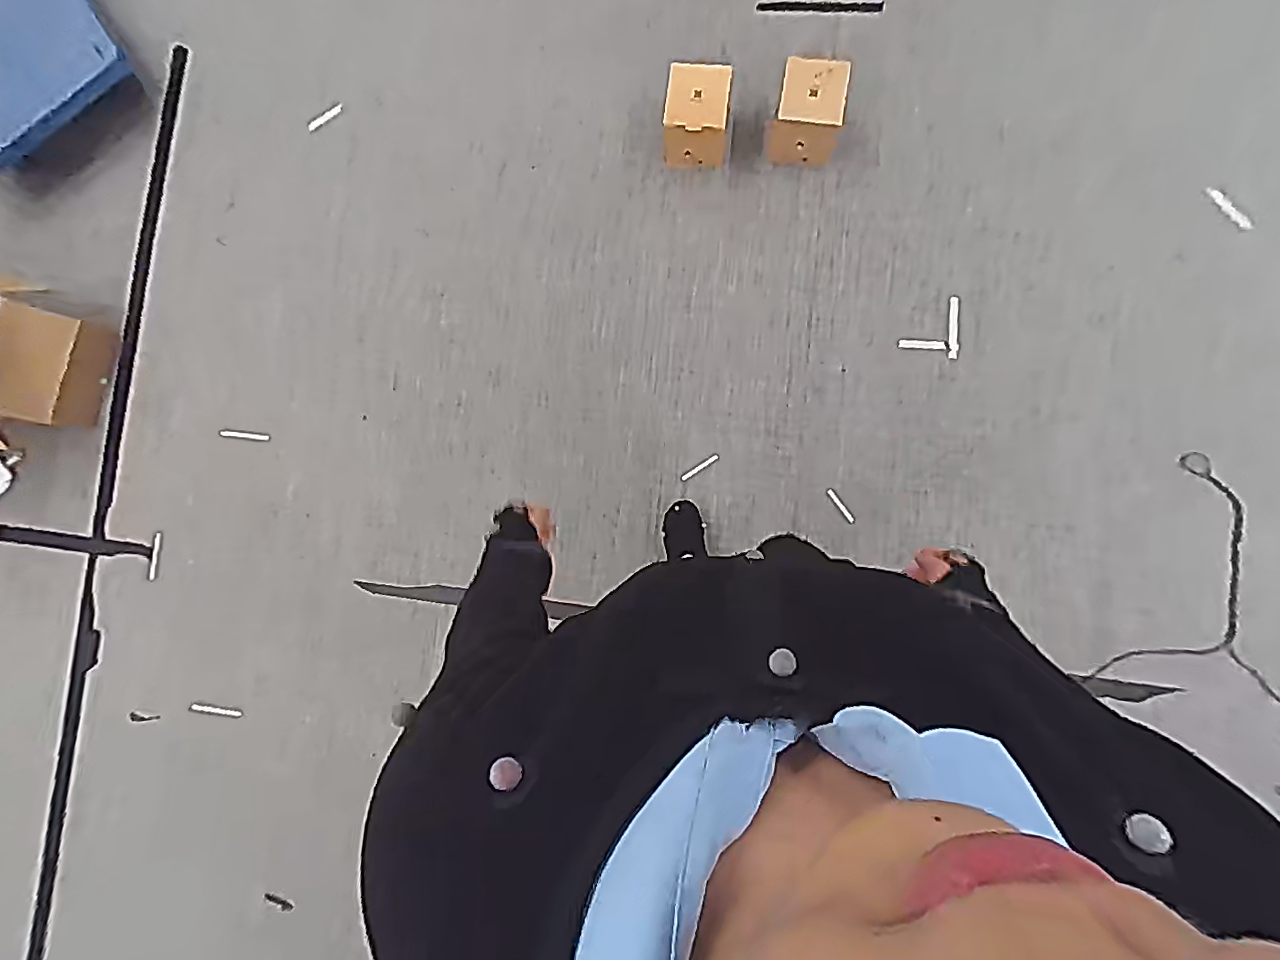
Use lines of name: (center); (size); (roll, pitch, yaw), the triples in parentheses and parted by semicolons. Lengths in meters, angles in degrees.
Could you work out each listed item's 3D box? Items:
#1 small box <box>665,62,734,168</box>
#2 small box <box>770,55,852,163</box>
small box: (0.161, -1.008, 1.501); (0.168, 0.176, 0.179); (7, 87, 5)
small box: (0.458, -1.003, 1.475); (0.168, 0.176, 0.179); (10, 87, 4)
